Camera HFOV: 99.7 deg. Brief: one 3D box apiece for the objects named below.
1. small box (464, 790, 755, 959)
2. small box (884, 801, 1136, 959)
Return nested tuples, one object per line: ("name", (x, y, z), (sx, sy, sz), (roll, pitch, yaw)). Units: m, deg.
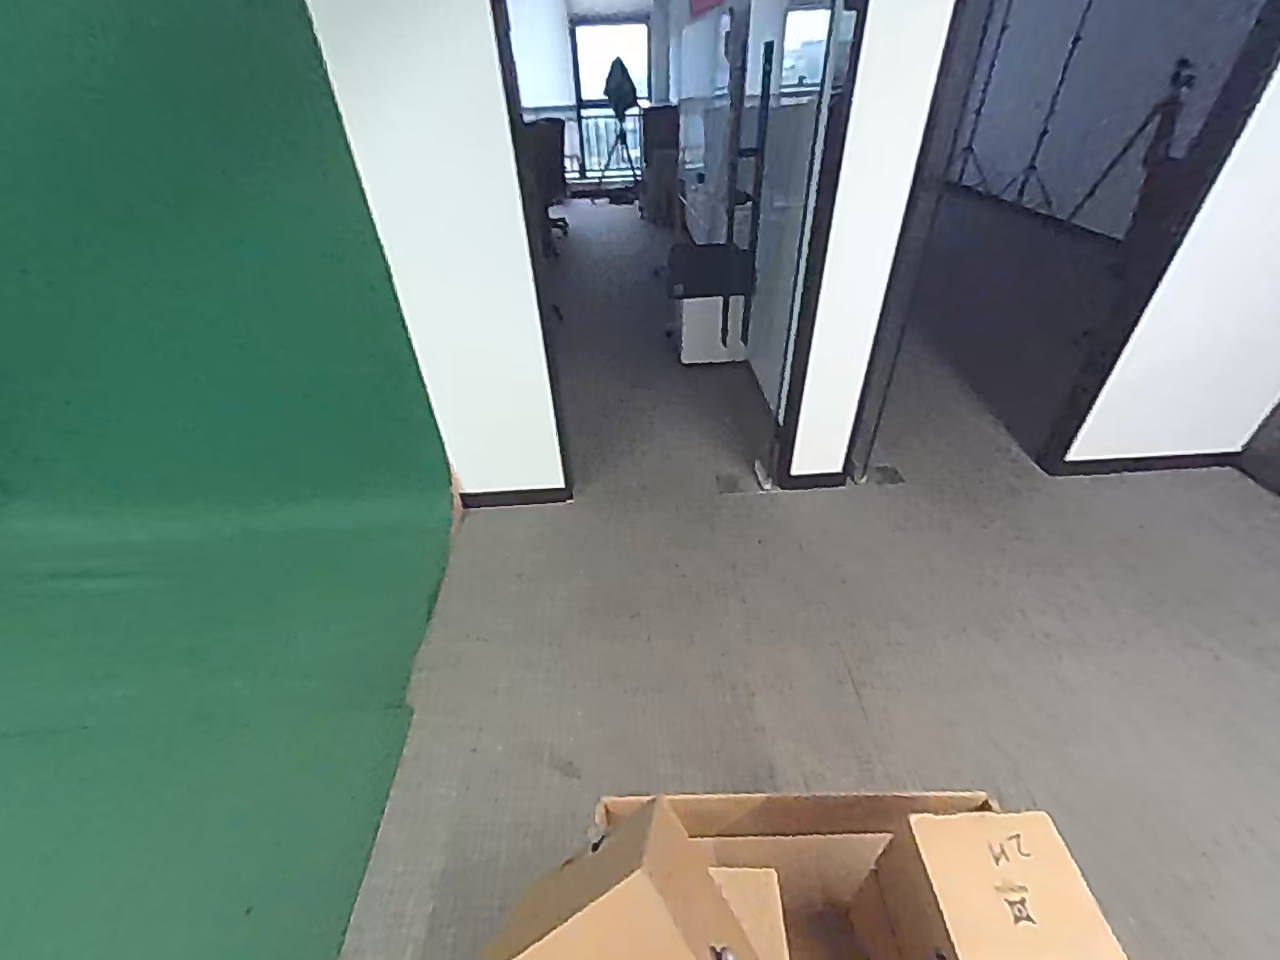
("small box", (-0.013, 0.393, 0.429), (0.168, 0.176, 0.179), (-34, 76, -2))
("small box", (0.405, 0.496, 0.621), (0.168, 0.176, 0.179), (-2, 38, 2))
